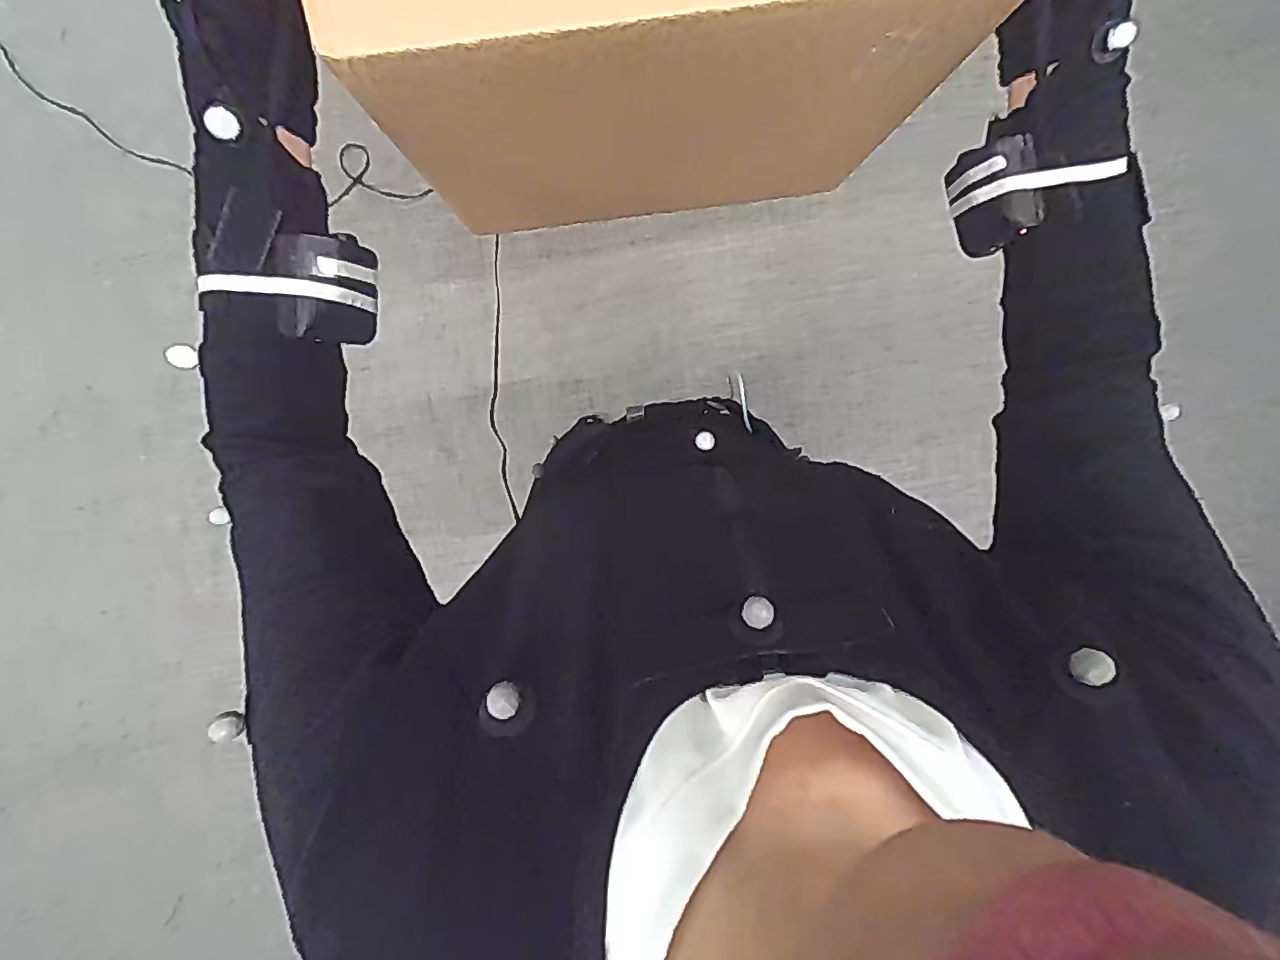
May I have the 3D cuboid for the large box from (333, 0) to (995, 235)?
[{"bbox_3d":[0.001,-0.426,0.428,0.408,0.320,0.320,-9,99,-2],"label":"large box"}]
